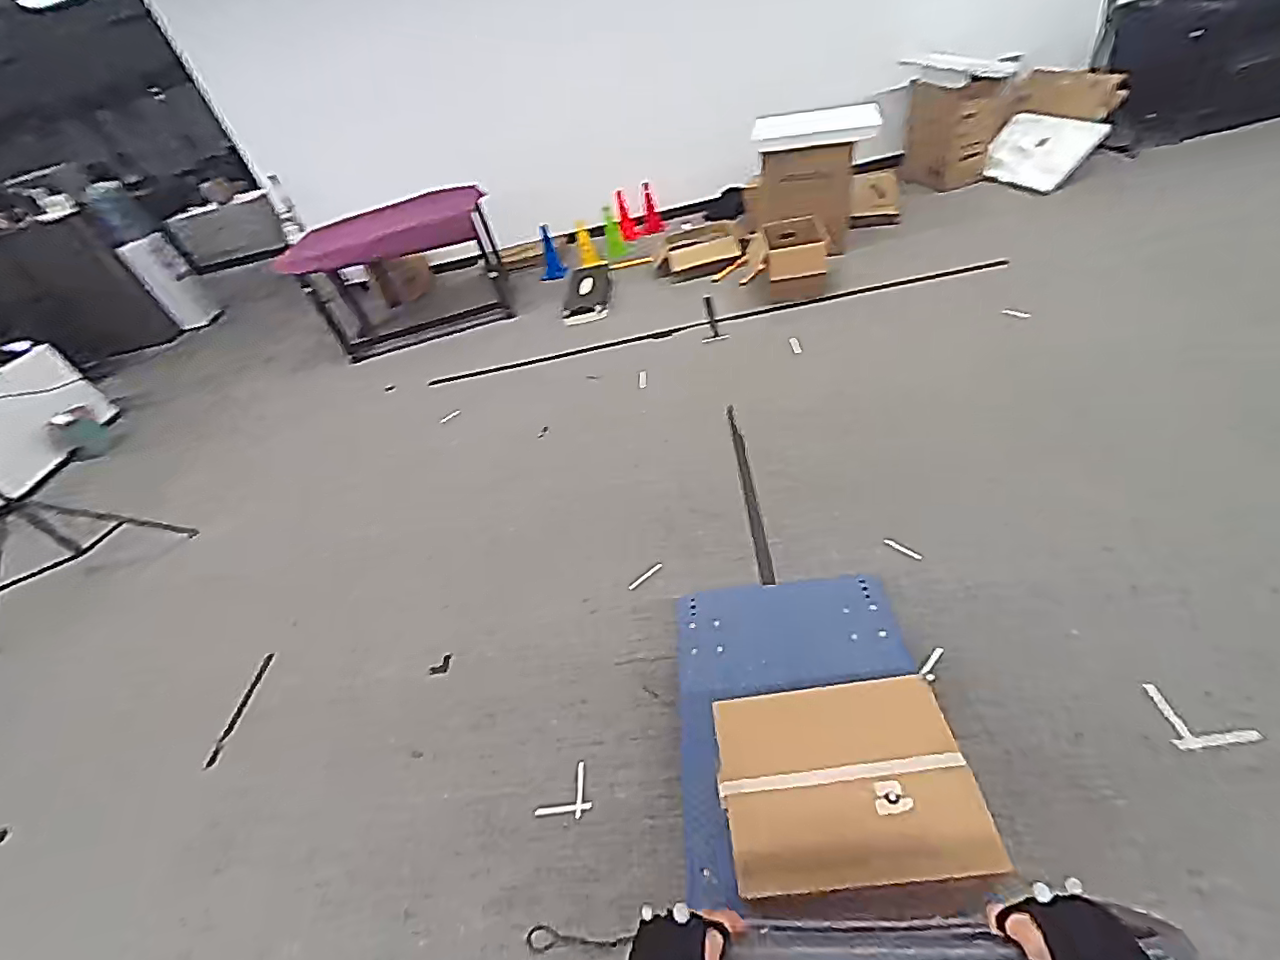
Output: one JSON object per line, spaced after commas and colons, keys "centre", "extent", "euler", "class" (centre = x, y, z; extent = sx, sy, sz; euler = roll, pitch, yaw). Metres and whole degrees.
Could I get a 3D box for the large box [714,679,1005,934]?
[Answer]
{"centre": [0.374, 0.624, 1.031], "extent": [0.408, 0.320, 0.320], "euler": [-10, 42, 5], "class": "large box"}
